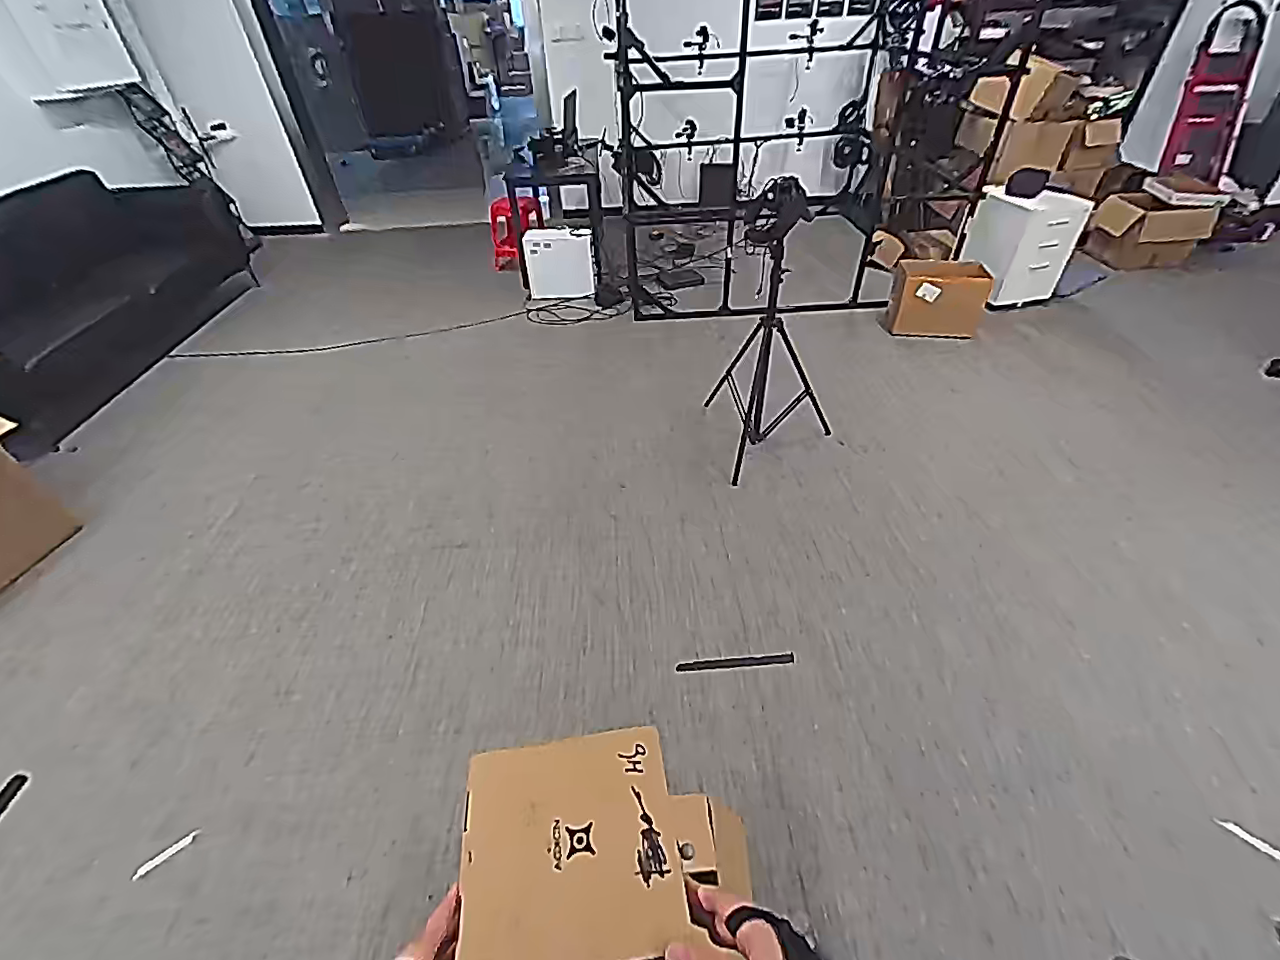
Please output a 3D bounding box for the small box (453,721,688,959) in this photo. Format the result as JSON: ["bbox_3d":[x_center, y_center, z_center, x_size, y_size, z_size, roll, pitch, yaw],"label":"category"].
[{"bbox_3d":[-0.056,0.353,0.502,0.179,0.176,0.168,-8,43,-5],"label":"small box"}]
